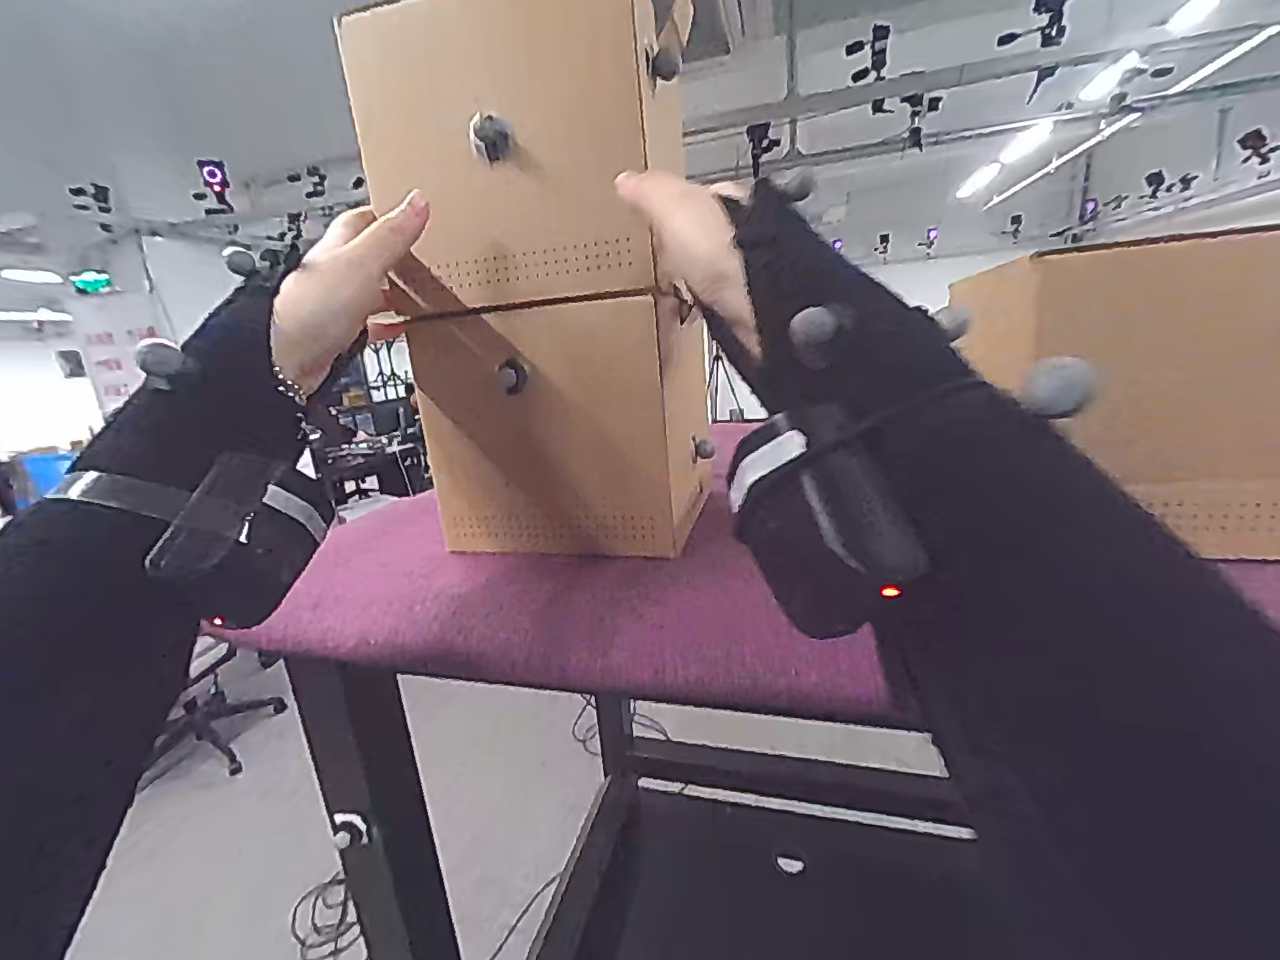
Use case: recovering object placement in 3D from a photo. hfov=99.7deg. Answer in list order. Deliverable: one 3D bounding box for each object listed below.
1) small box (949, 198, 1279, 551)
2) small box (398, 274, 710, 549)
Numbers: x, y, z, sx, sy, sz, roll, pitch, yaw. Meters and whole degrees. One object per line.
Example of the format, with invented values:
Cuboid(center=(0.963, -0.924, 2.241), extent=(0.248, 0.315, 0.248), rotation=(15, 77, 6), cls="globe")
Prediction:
Cuboid(center=(0.307, -0.061, 0.335), extent=(0.179, 0.176, 0.168), rotation=(0, 14, 16), cls="small box")
Cuboid(center=(-0.047, -0.054, 0.417), extent=(0.179, 0.176, 0.168), rotation=(0, 17, 16), cls="small box")
